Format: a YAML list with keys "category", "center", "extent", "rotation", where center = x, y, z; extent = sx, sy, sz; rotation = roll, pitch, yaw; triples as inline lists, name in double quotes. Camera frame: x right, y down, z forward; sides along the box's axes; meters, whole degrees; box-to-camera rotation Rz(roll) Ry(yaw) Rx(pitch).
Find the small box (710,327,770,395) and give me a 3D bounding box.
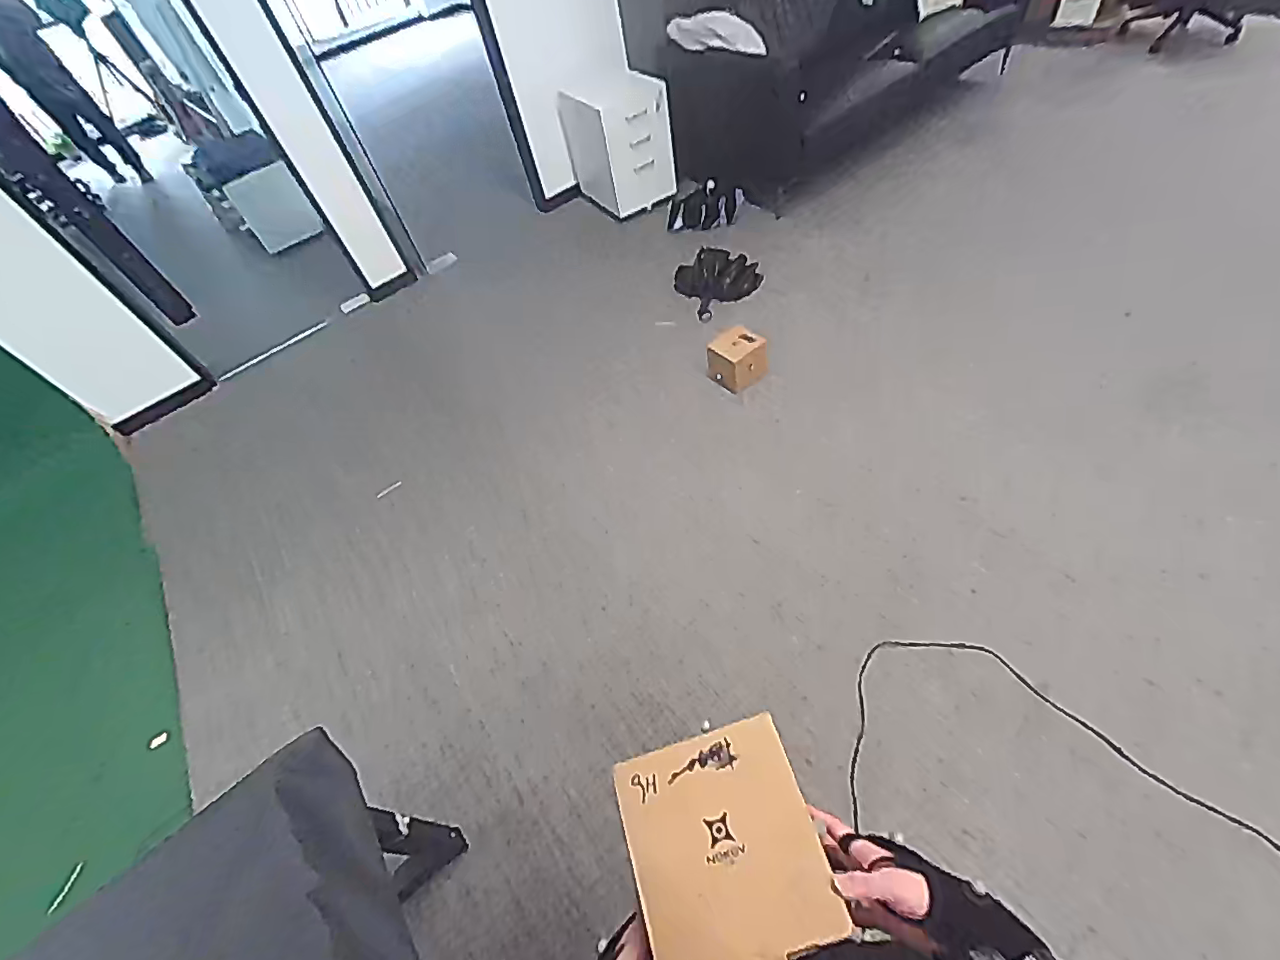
- category: "small box"
  center: [0.406, -0.479, 2.189]
  extent: [0.179, 0.176, 0.168]
  rotation: [-37, 53, -14]
